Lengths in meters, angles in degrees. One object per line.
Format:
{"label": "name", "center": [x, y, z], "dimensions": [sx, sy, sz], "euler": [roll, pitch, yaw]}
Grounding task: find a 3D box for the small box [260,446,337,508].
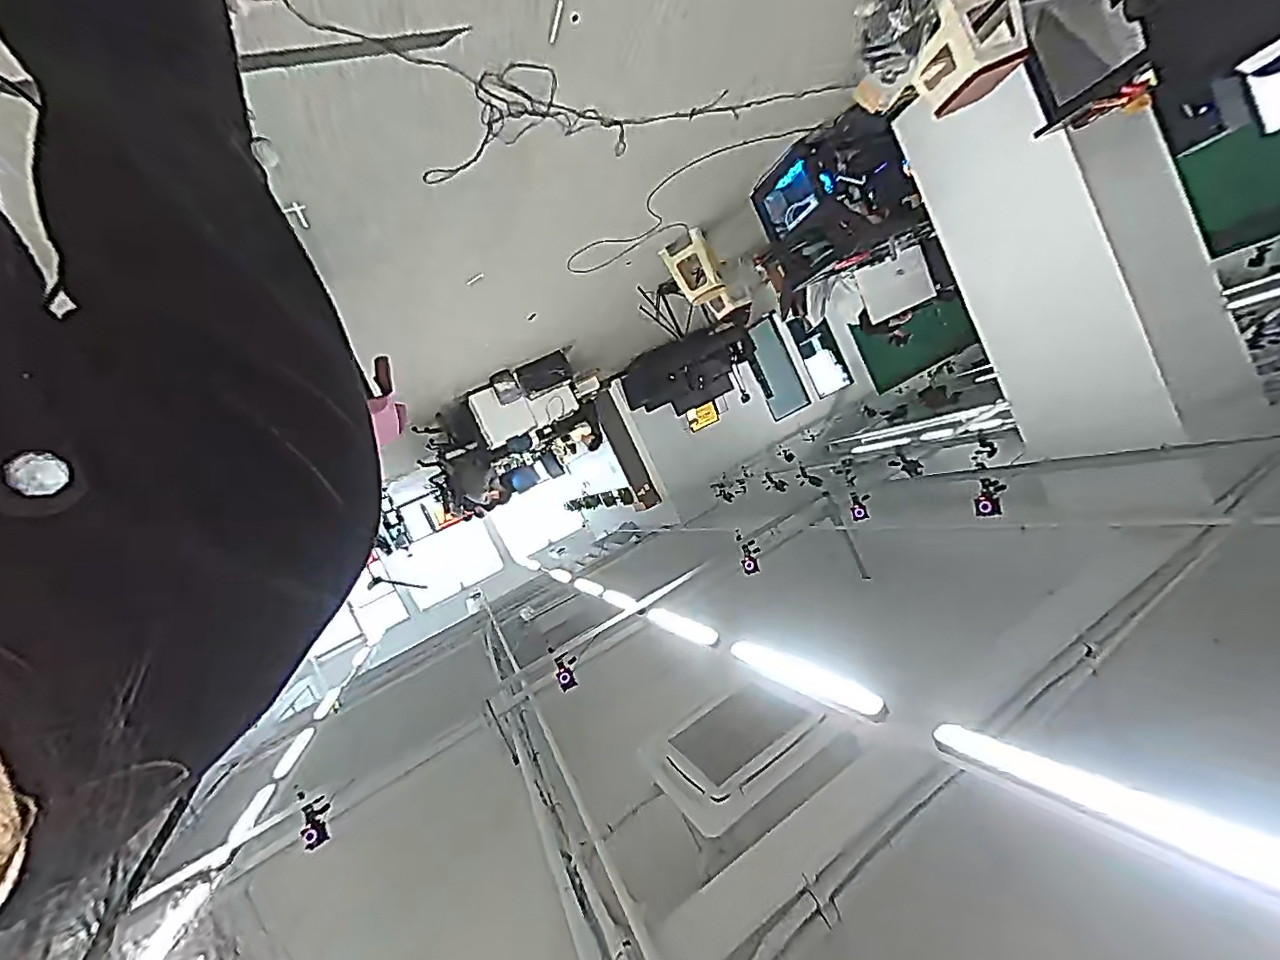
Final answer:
{"label": "small box", "center": [-1.252, -0.012, 1.986], "dimensions": [0.168, 0.176, 0.179], "euler": [-27, -175, -19]}
